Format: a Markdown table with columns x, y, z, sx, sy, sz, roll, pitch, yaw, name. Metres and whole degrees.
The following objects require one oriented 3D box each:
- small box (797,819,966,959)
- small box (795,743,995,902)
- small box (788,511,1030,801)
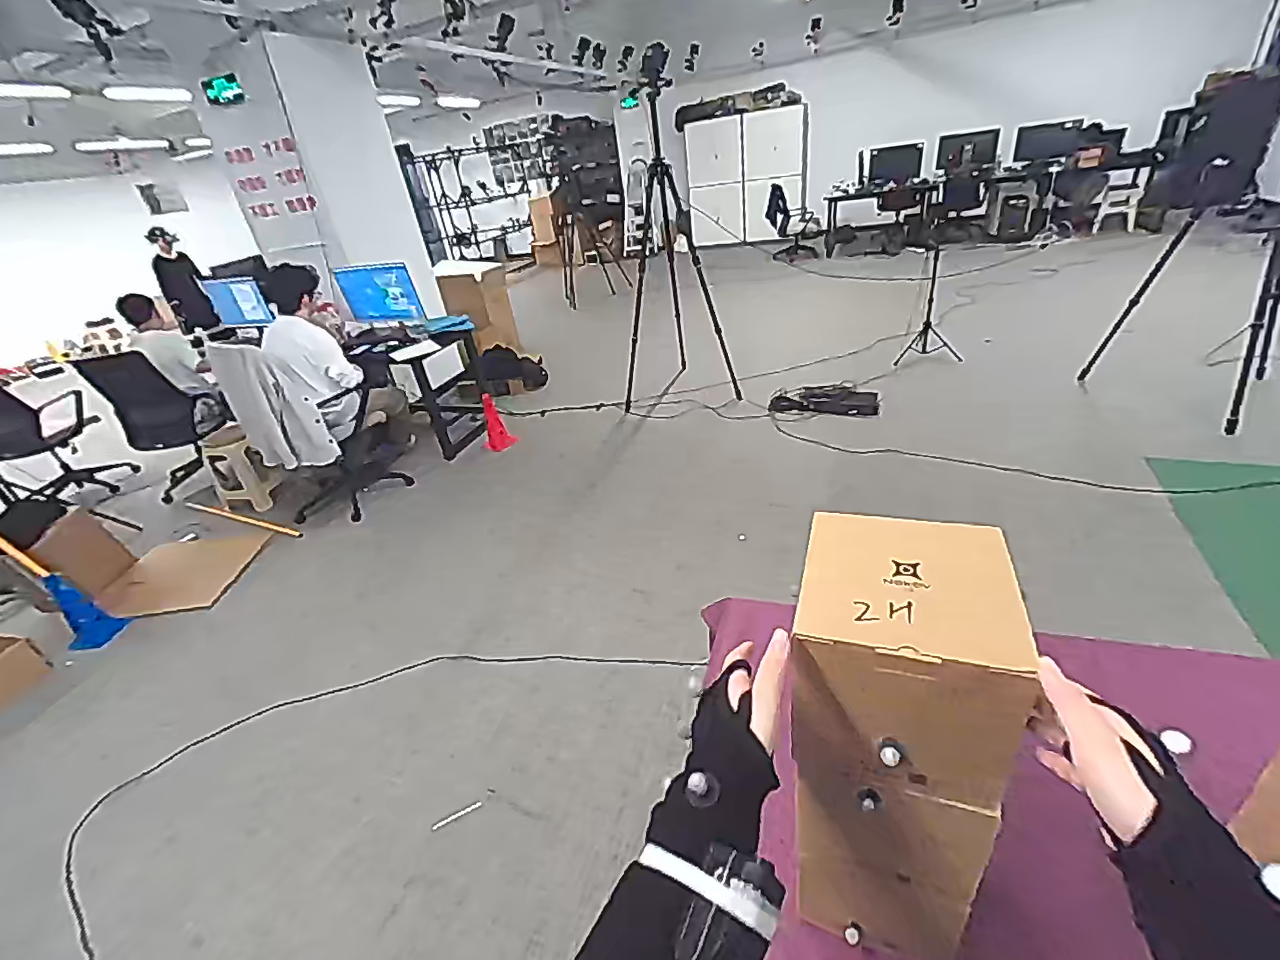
| x | y | z | sx | sy | sz | roll | pitch | yaw | name |
| --- | --- | --- | --- | --- | --- | --- | --- | --- | --- |
| 0.289 | 0.434 | 0.663 | 0.168 | 0.176 | 0.179 | 4 | 34 | 24 | small box |
| 0.264 | 0.294 | 0.580 | 0.168 | 0.176 | 0.179 | 3 | 32 | 24 | small box |
| 0.233 | 0.151 | 0.503 | 0.168 | 0.176 | 0.179 | 3 | 33 | 22 | small box |
